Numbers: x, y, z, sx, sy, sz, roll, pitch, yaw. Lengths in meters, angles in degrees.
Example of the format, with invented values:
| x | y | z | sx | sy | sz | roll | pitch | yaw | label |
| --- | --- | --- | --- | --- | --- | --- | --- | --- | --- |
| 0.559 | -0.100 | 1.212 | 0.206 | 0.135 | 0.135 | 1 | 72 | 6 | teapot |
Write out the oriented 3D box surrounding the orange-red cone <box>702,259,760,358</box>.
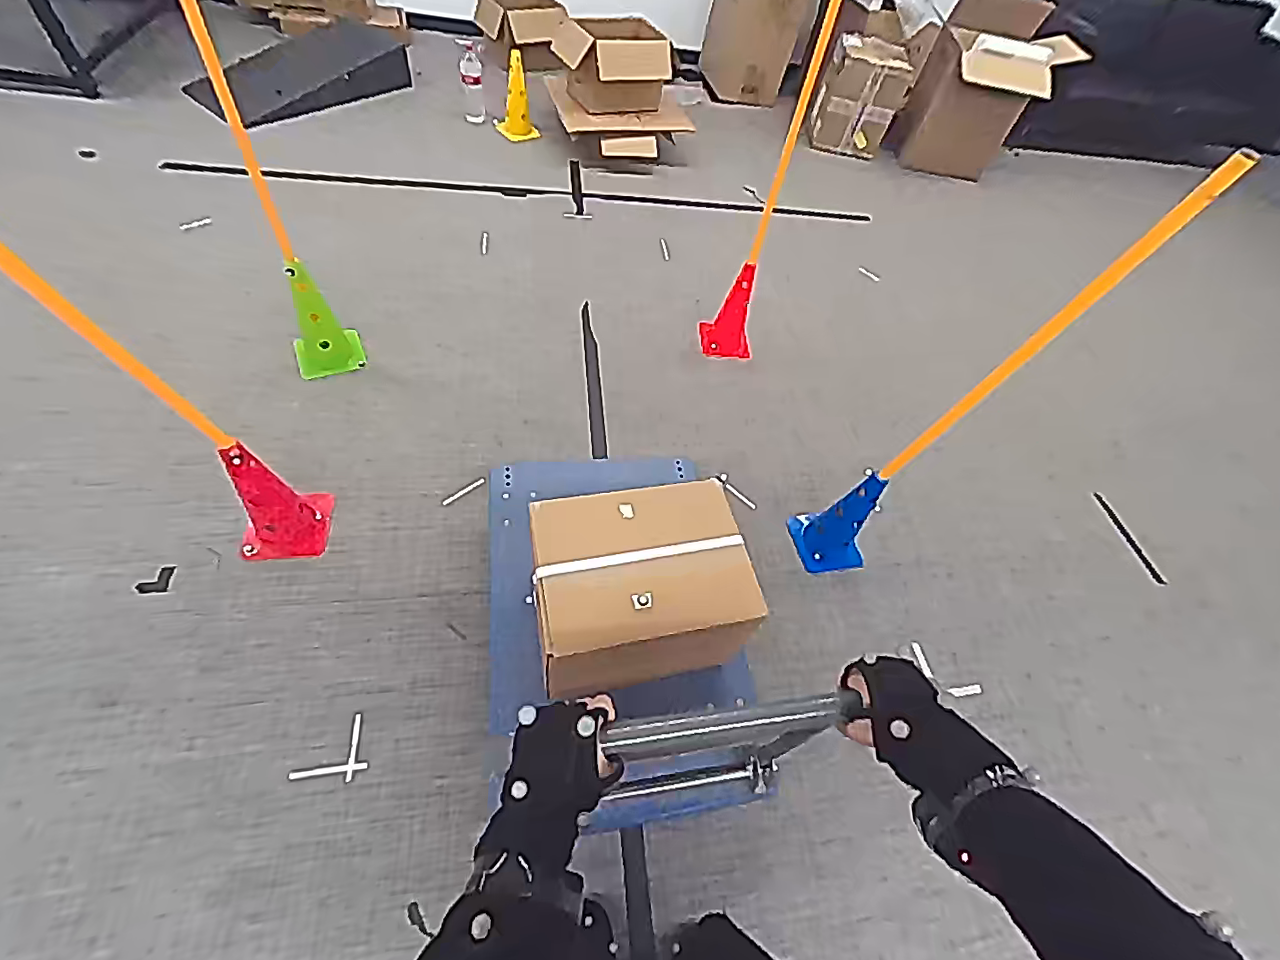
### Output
| x | y | z | sx | sy | sz | roll | pitch | yaw | label |
| --- | --- | --- | --- | --- | --- | --- | --- | --- | --- |
| 0.374 | -0.662 | 2.024 | 0.199 | 0.360 | 0.198 | 5 | 55 | -8 | orange-red cone |

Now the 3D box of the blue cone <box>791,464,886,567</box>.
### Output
| x | y | z | sx | sy | sz | roll | pitch | yaw | label |
| --- | --- | --- | --- | --- | --- | --- | --- | --- | --- |
| 0.607 | 0.088 | 1.562 | 0.193 | 0.380 | 0.192 | -4 | 55 | -13 | blue cone |
